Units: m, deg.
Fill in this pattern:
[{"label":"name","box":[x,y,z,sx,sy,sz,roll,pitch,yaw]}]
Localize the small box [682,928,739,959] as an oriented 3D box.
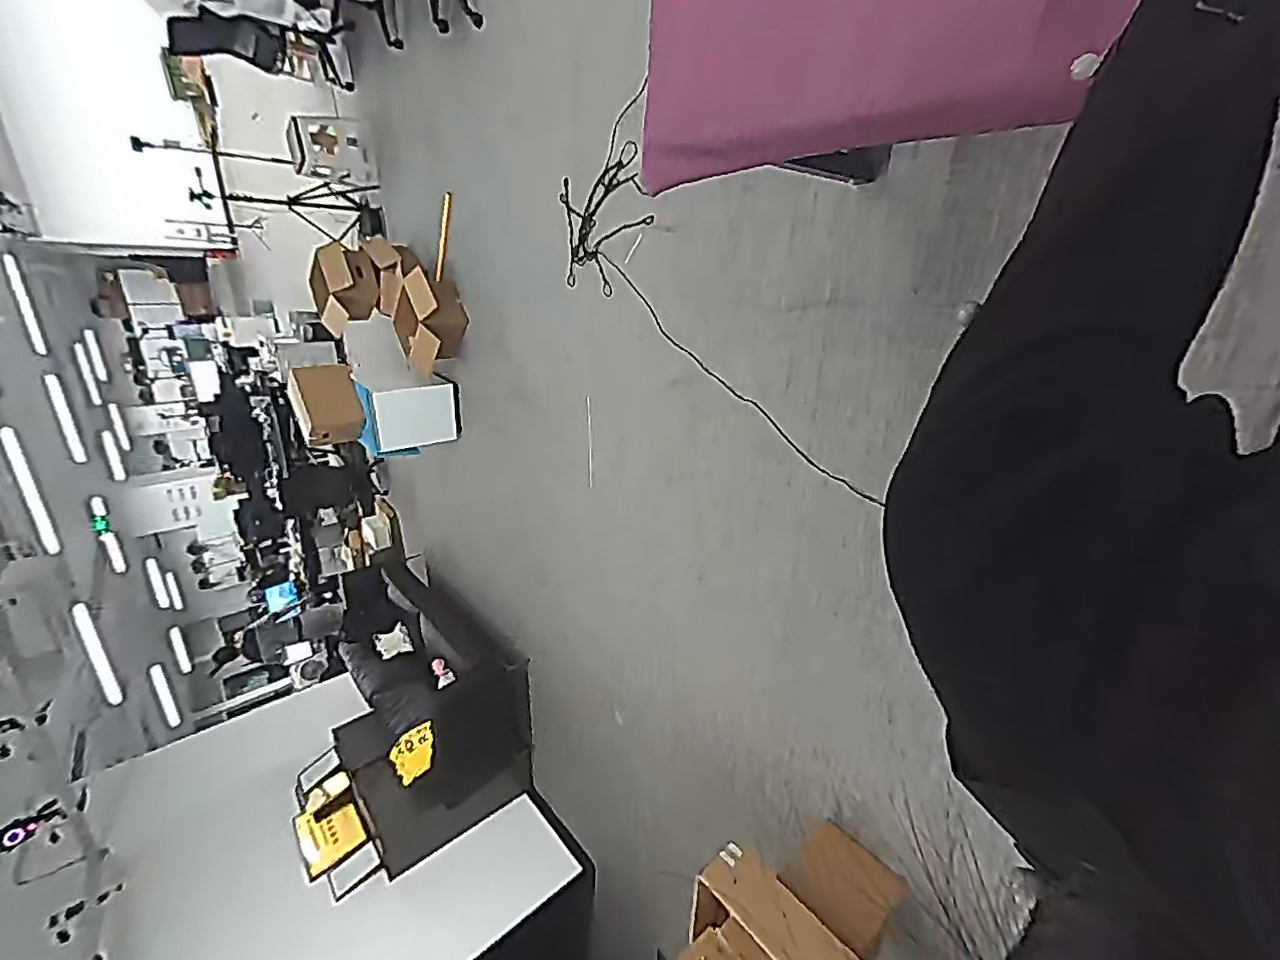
[{"label":"small box","box":[0.210,1.510,1.620,0.168,0.176,0.179,31,125,42]}]
